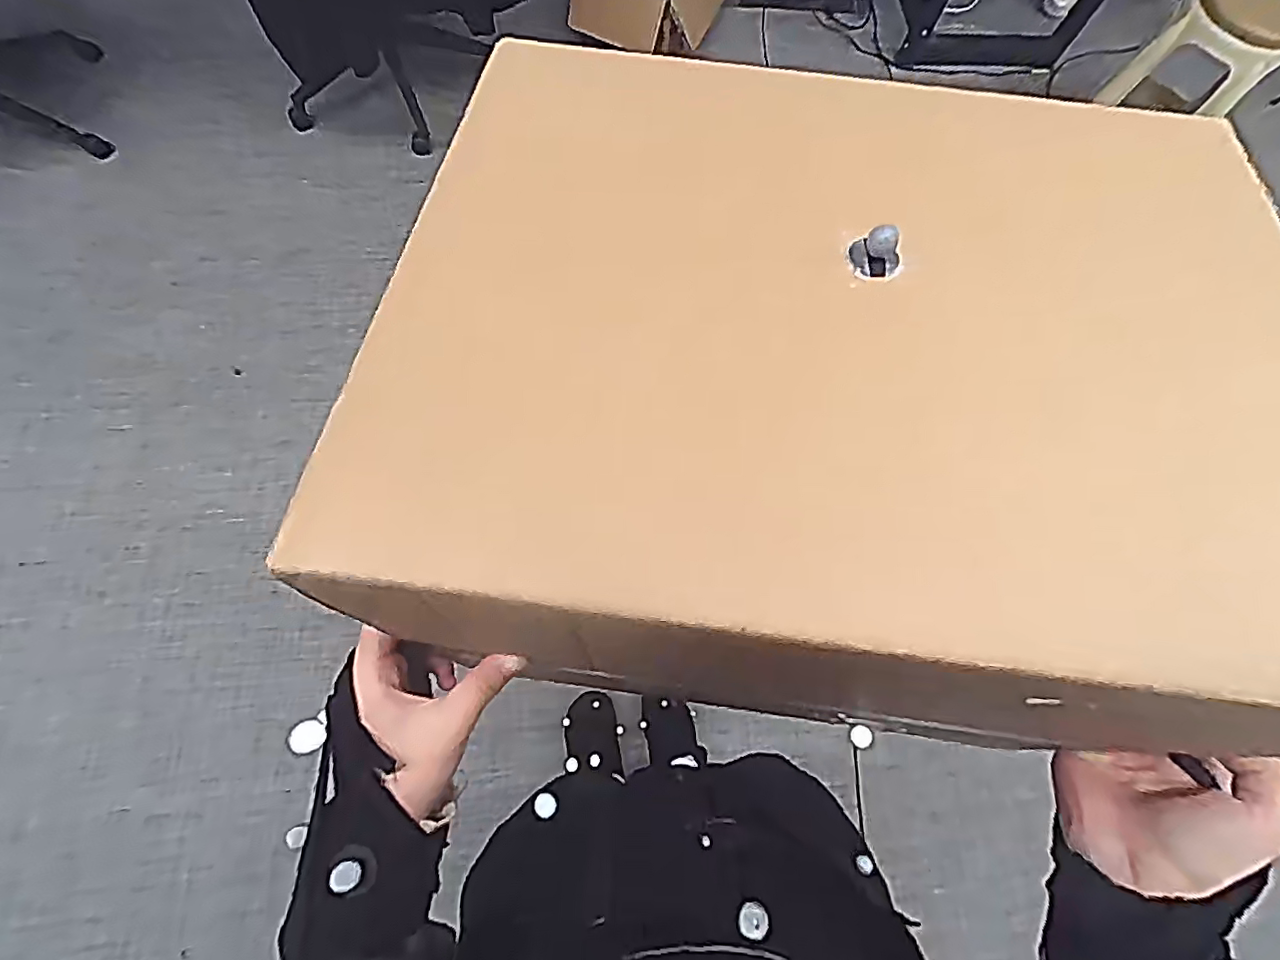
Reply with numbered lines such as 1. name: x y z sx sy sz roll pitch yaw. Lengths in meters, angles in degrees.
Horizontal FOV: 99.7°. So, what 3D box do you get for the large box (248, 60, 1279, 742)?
1. large box: 0.079 -0.022 0.365 0.408 0.320 0.320 6 66 2
